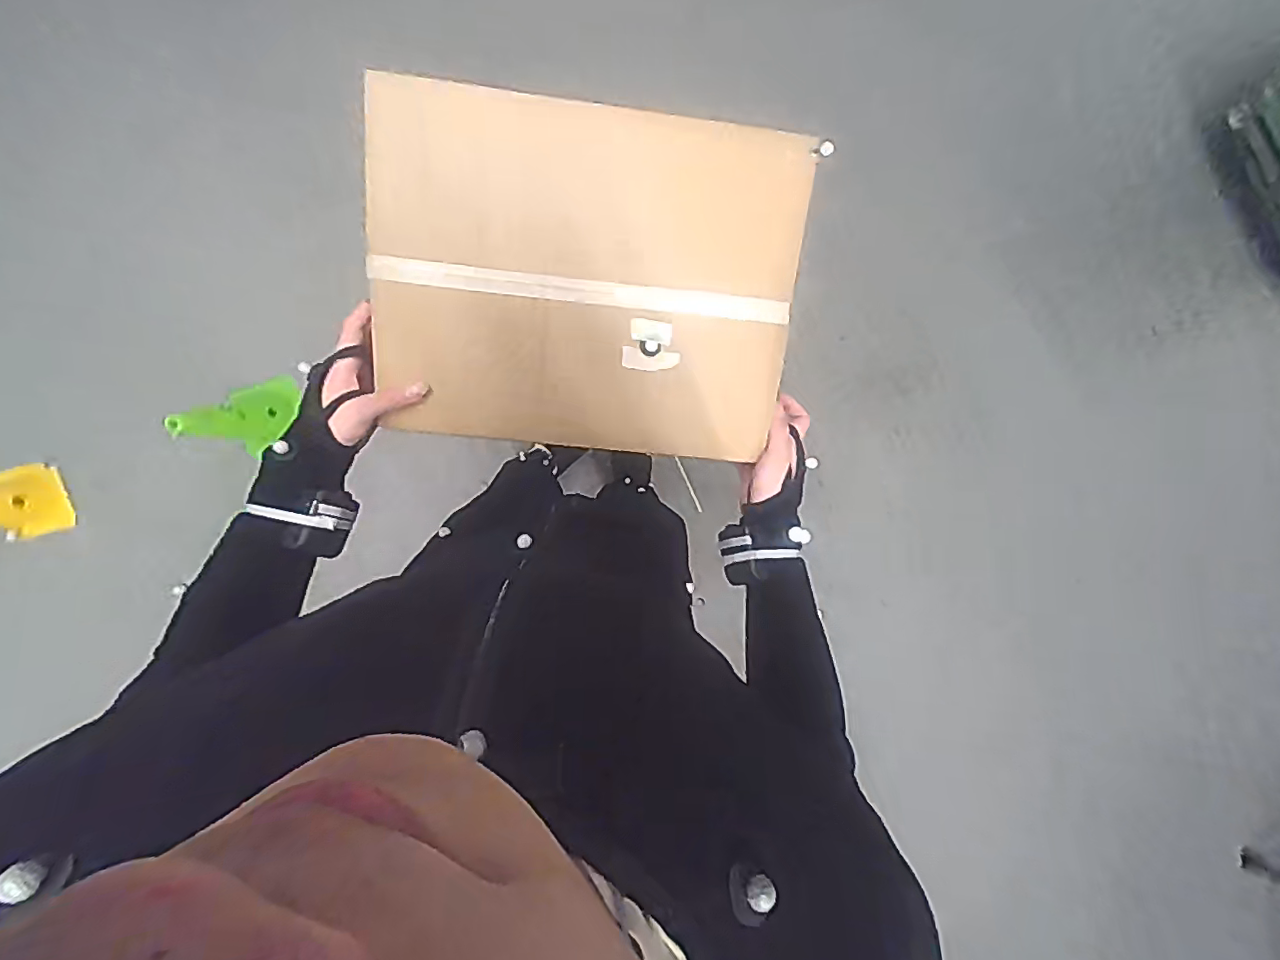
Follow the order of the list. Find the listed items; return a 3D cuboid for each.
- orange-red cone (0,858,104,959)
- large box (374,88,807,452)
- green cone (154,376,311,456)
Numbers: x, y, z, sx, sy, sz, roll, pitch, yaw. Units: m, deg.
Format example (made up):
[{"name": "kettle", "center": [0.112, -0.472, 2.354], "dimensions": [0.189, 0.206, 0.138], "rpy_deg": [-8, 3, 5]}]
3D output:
[{"name": "orange-red cone", "center": [-1.863, 1.360, 1.594], "dimensions": [0.198, 0.360, 0.199], "rpy_deg": [-15, 100, 1]}, {"name": "large box", "center": [-0.063, -0.229, 0.675], "dimensions": [0.408, 0.320, 0.320], "rpy_deg": [4, 107, -6]}, {"name": "green cone", "center": [-1.075, -0.160, 1.398], "dimensions": [0.202, 0.368, 0.200], "rpy_deg": [-17, 98, 2]}]
